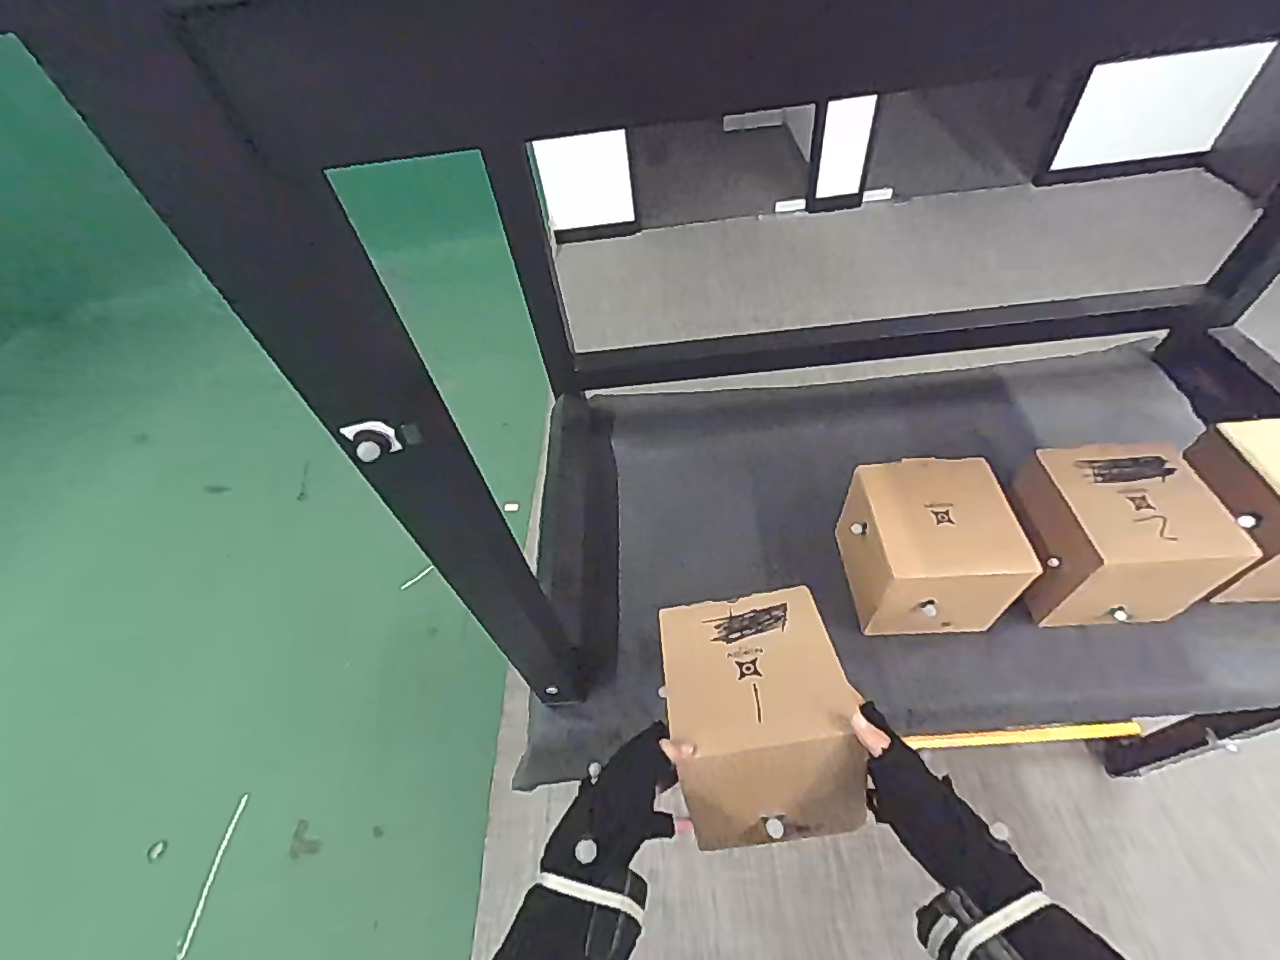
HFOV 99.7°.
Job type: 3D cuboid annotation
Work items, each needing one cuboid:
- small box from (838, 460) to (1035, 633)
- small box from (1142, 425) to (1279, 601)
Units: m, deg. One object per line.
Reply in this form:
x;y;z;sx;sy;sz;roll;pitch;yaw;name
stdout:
0.378;0.096;0.729;0.168;0.176;0.179;-4;50;6;small box
0.827;0.047;0.701;0.168;0.176;0.179;-2;50;6;small box
